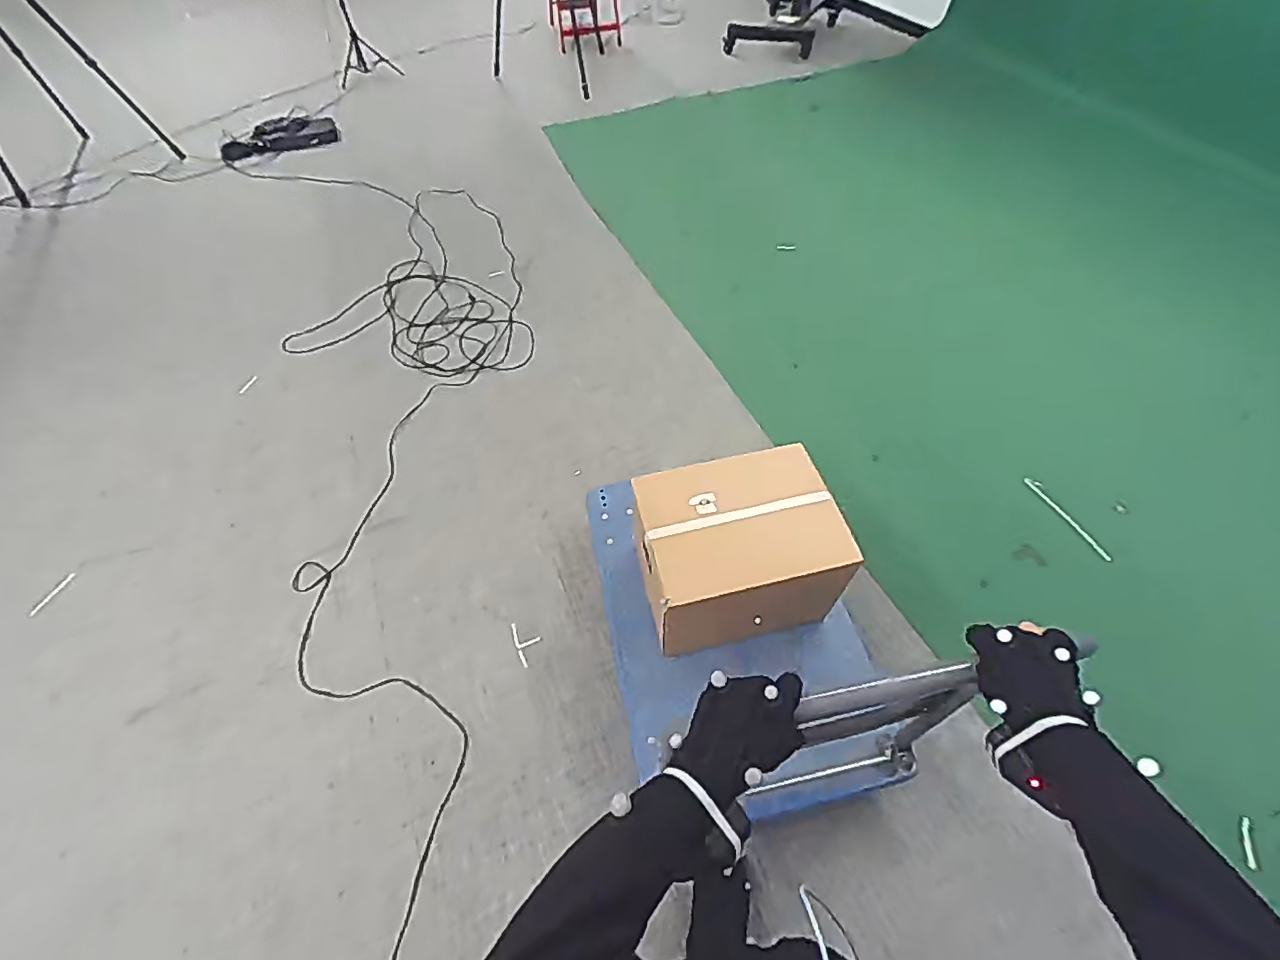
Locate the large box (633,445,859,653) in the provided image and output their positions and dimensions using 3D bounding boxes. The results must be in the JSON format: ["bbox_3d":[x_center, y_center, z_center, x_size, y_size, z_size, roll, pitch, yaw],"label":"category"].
[{"bbox_3d":[0.218,0.167,1.258,0.408,0.320,0.320,-13,55,-6],"label":"large box"}]
